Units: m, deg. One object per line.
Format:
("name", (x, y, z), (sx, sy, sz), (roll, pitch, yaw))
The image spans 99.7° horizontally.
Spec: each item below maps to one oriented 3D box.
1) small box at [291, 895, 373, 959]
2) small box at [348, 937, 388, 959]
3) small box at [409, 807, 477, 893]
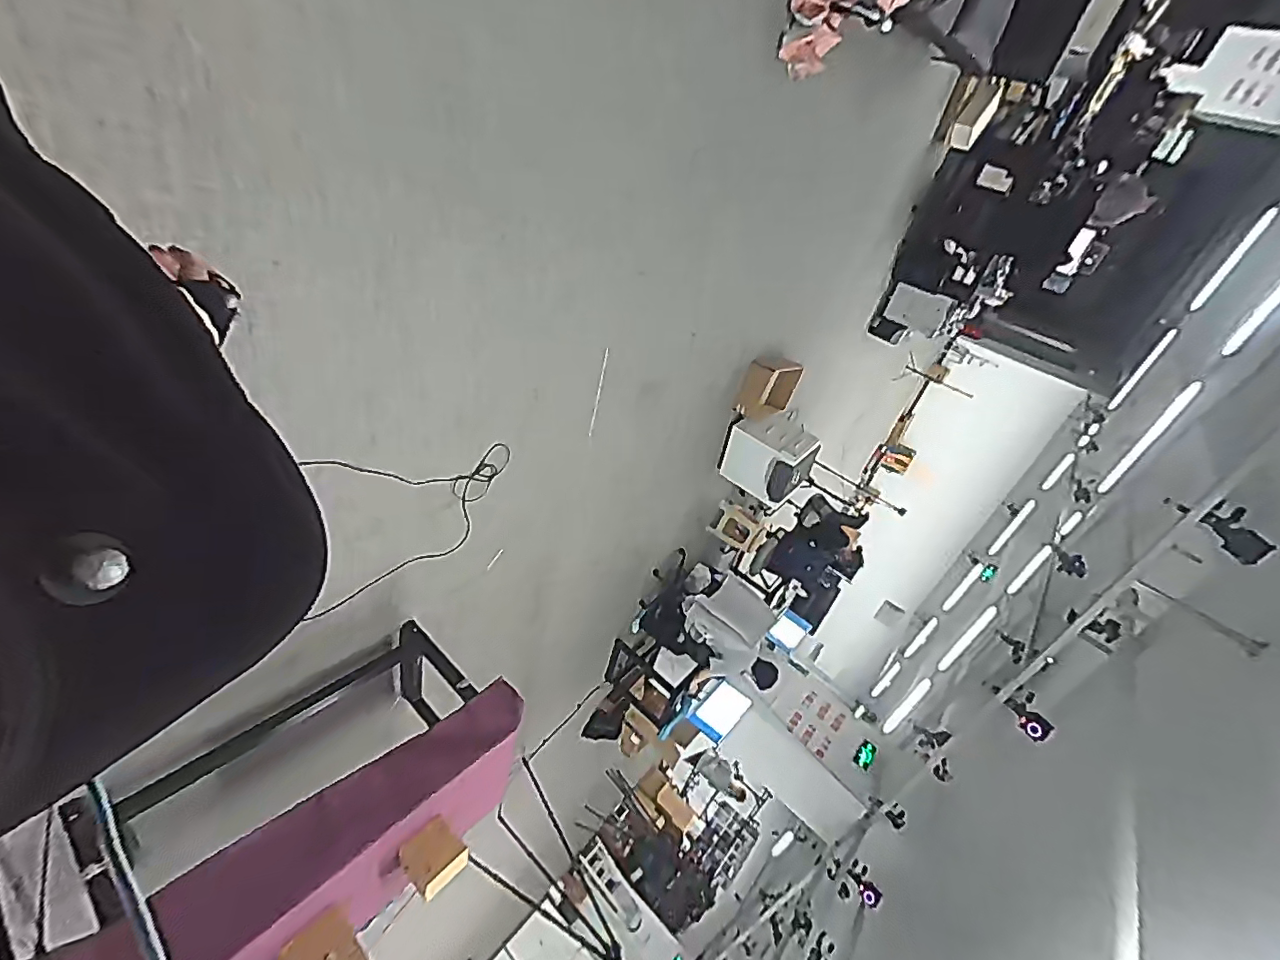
("small box", (-0.981, 1.490, 1.732), (0.179, 0.176, 0.168), (-26, 141, -44))
("small box", (-0.860, 1.576, 1.662), (0.179, 0.176, 0.168), (-28, 143, -44))
("small box", (-0.733, 1.370, 2.011), (0.179, 0.176, 0.168), (-27, 143, -43))
